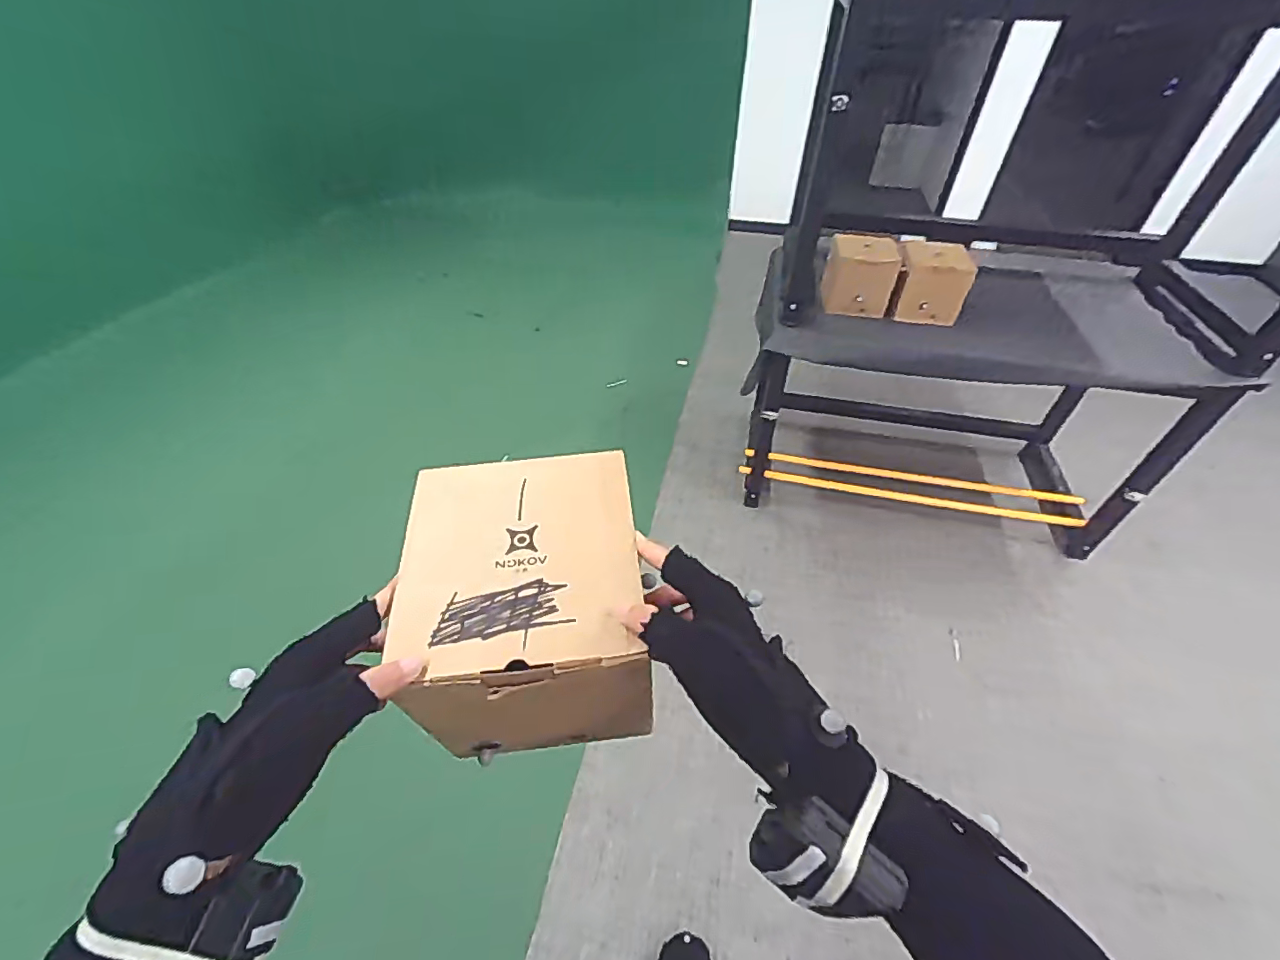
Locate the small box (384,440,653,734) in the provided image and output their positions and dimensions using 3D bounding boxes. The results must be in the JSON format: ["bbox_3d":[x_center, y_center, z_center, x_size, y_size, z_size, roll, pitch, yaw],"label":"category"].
[{"bbox_3d":[-0.080,0.093,0.442,0.168,0.176,0.179,-6,49,-3],"label":"small box"}]

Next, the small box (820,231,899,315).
[{"bbox_3d":[0.625,-0.601,1.566,0.168,0.176,0.179,7,45,7],"label":"small box"}]
